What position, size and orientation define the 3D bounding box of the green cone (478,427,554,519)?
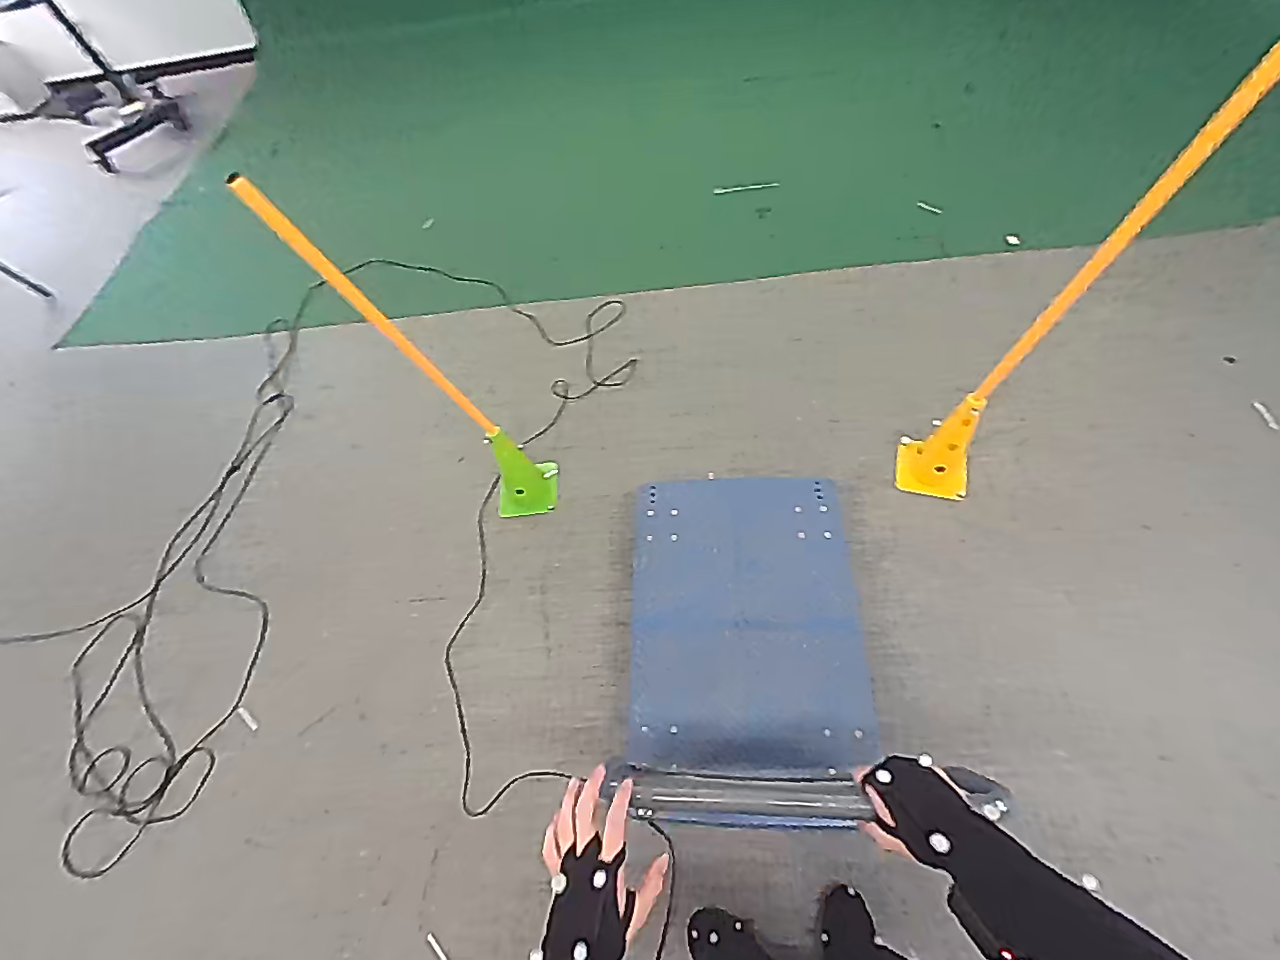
[{"bbox_3d":[-0.420,-0.053,1.718,0.202,0.368,0.200,-8,58,5],"label":"green cone"}]
